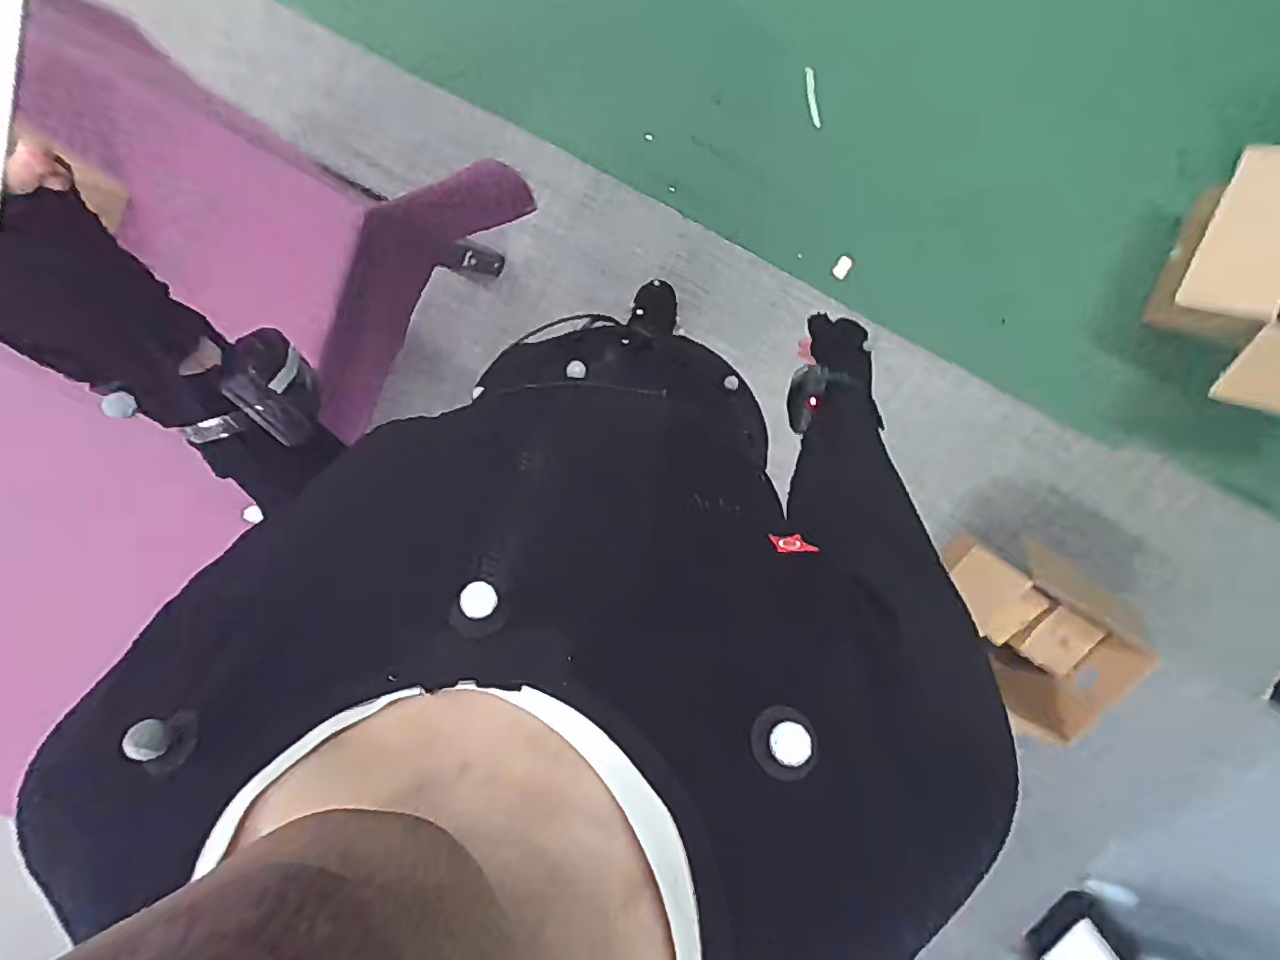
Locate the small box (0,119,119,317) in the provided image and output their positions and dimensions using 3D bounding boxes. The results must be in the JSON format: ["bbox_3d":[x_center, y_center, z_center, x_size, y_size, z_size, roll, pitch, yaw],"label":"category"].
[{"bbox_3d":[-0.709,-0.284,0.556,0.179,0.176,0.168,32,105,-10],"label":"small box"}]
